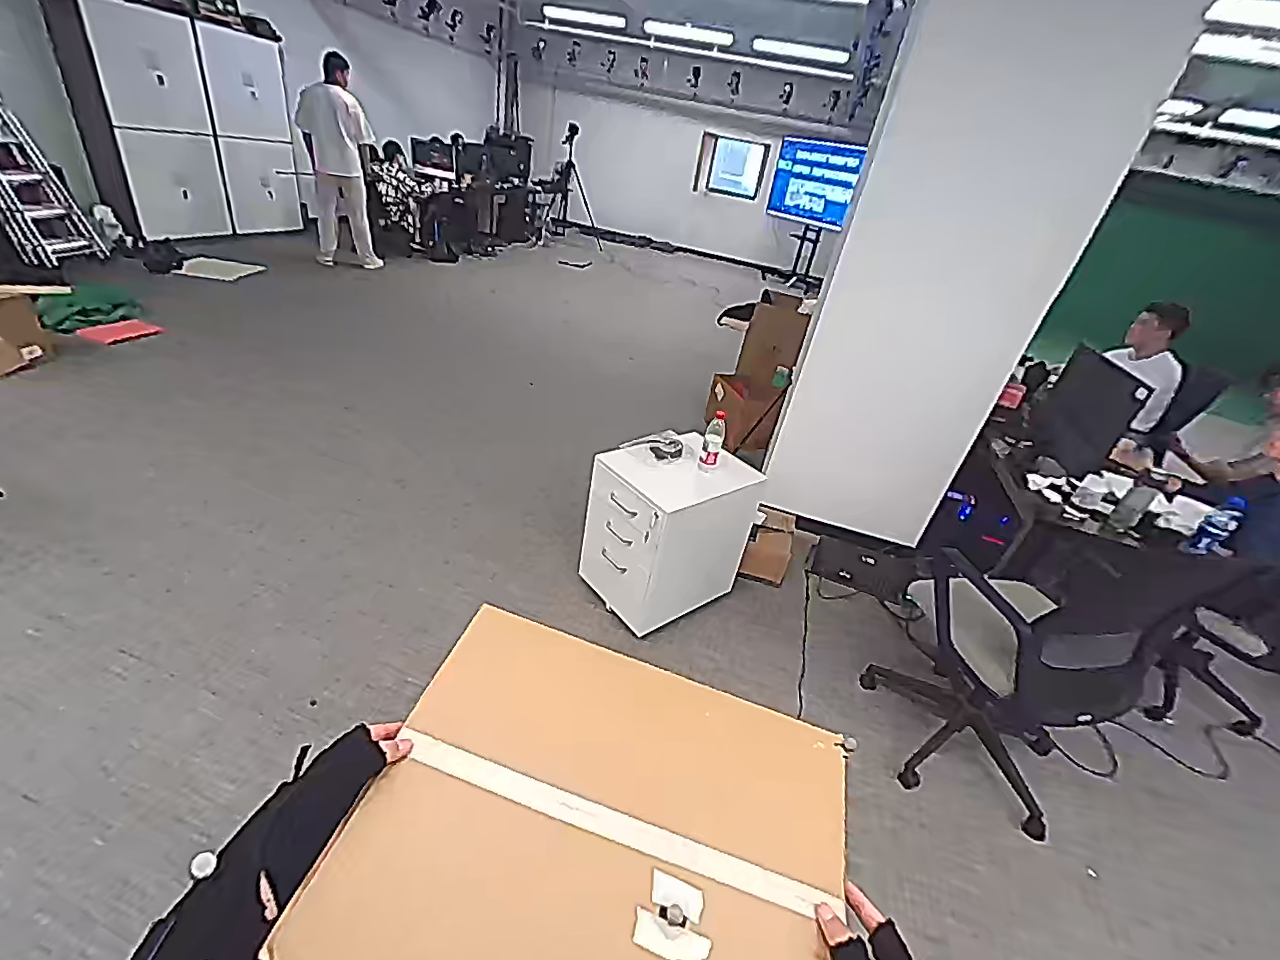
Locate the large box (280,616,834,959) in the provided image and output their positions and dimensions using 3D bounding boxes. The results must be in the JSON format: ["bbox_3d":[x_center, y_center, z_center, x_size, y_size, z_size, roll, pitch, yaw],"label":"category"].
[{"bbox_3d":[-0.056,0.410,0.565,0.408,0.320,0.320,19,41,5],"label":"large box"}]
